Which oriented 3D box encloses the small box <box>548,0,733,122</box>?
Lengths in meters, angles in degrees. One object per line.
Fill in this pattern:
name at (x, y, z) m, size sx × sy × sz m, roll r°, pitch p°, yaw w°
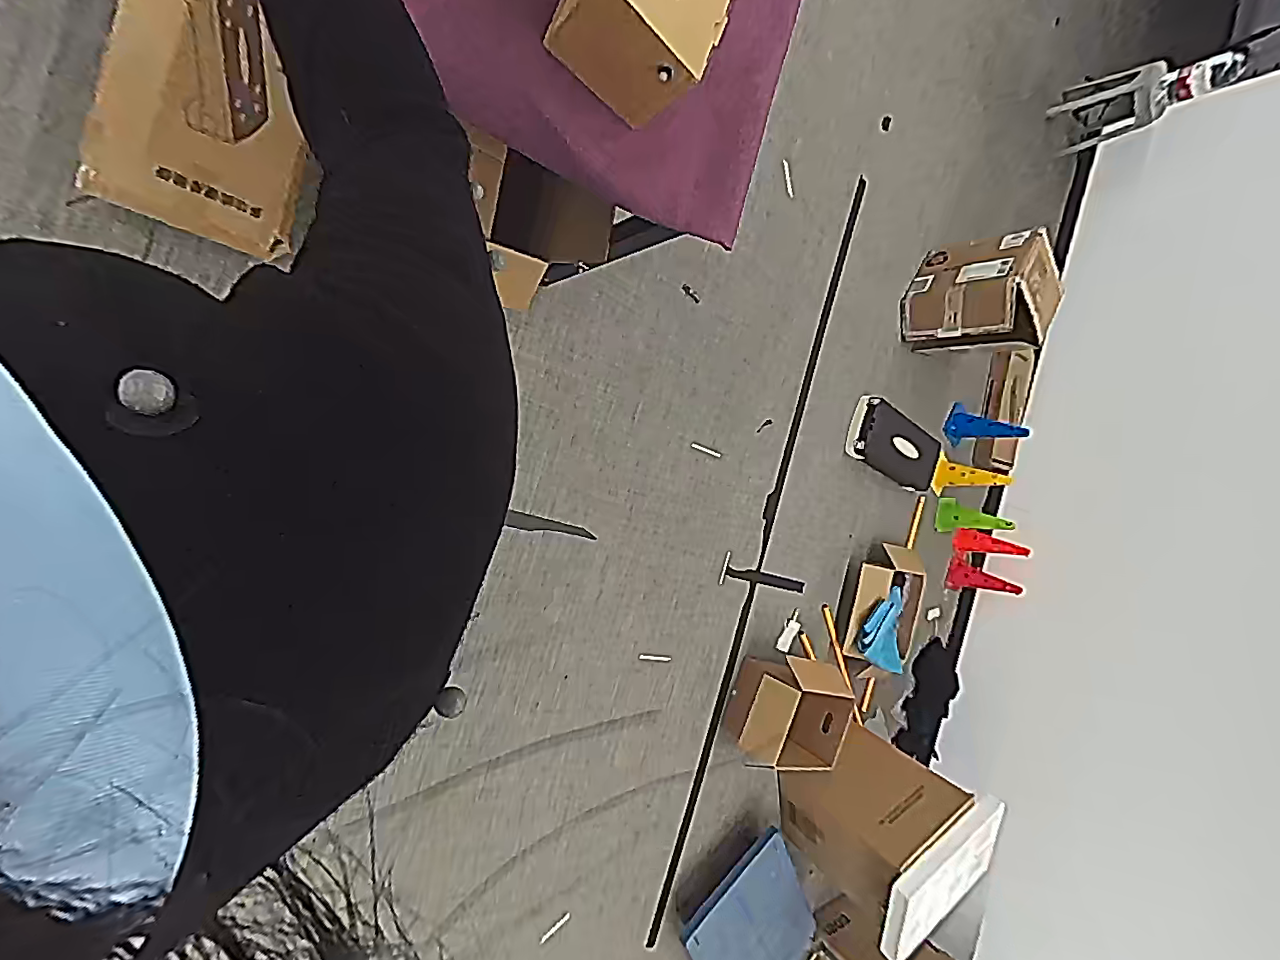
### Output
small box at (0.000, -0.646, 0.747) m, size 0.179 × 0.176 × 0.168 m, roll 24°, pitch 84°, yaw -36°
